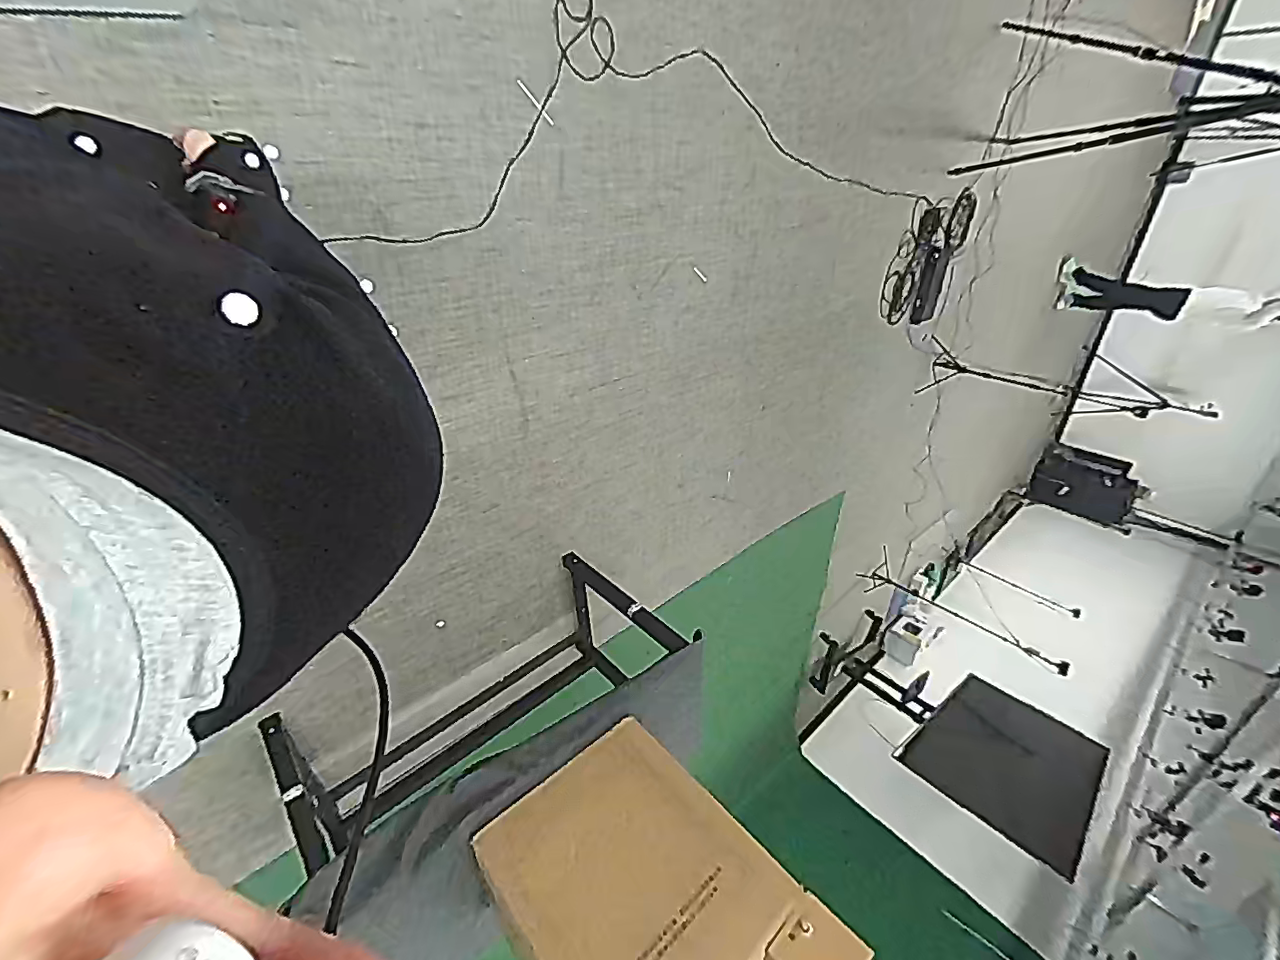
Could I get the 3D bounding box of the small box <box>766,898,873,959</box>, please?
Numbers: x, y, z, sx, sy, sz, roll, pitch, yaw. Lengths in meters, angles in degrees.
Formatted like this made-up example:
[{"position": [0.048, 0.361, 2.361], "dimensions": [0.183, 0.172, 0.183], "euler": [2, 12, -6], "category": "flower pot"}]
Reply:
[{"position": [0.392, 1.099, 1.214], "dimensions": [0.168, 0.176, 0.179], "euler": [-29, 129, -35], "category": "small box"}]
